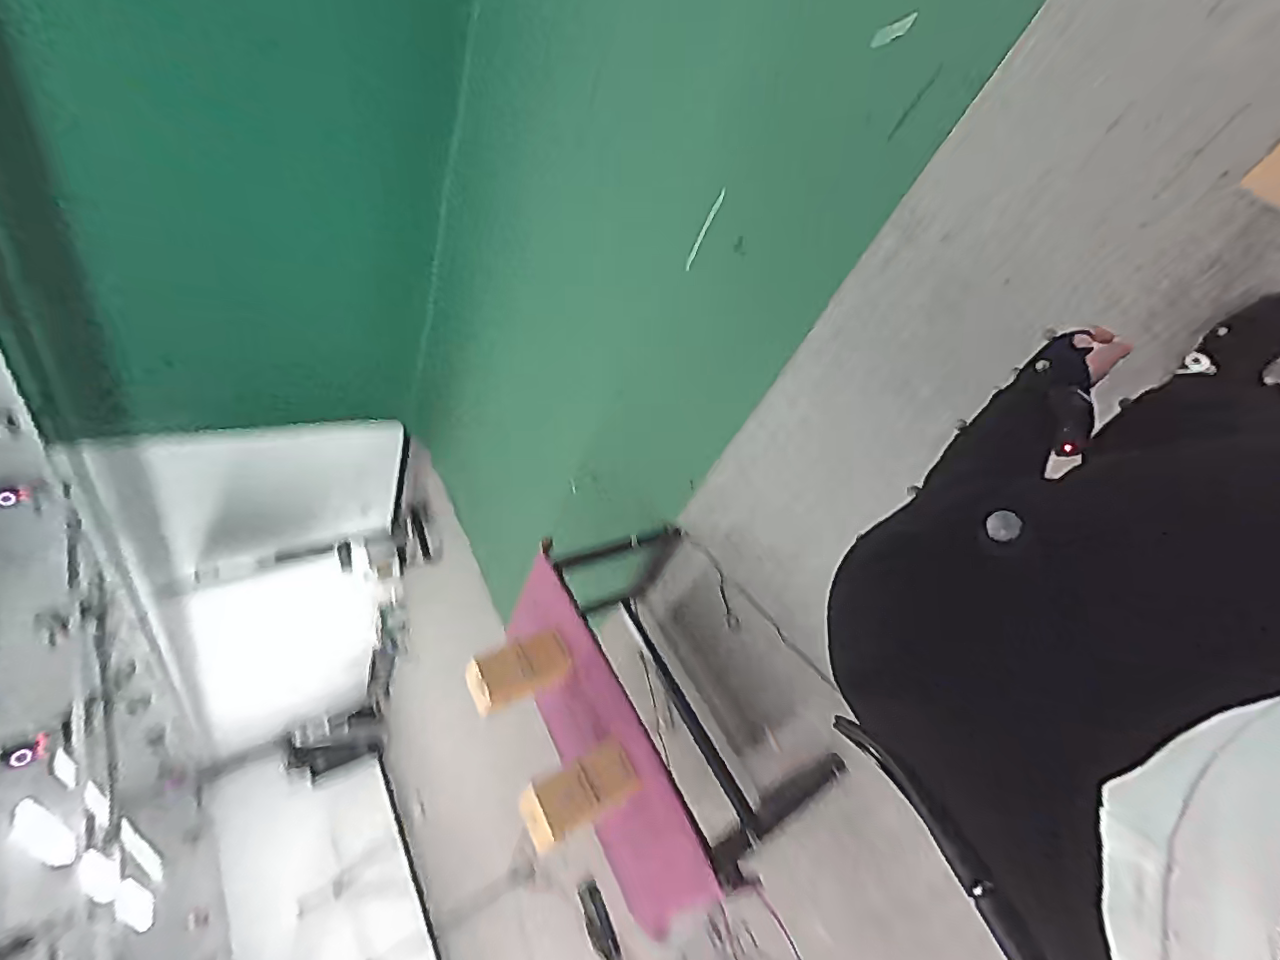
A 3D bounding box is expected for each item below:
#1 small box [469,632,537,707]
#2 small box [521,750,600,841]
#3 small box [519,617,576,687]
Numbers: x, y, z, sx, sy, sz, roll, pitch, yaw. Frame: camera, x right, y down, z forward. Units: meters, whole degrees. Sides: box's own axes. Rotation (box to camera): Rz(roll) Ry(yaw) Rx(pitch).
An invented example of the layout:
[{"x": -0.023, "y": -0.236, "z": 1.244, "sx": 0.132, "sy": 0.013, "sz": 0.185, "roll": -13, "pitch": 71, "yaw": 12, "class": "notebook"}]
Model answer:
[{"x": -0.486, "y": 0.668, "z": 1.923, "sx": 0.168, "sy": 0.176, "sz": 0.179, "roll": 55, "pitch": 139, "yaw": 25, "class": "small box"}, {"x": -0.247, "y": 0.981, "z": 1.693, "sx": 0.168, "sy": 0.176, "sz": 0.179, "roll": 55, "pitch": 136, "yaw": 29, "class": "small box"}, {"x": -0.360, "y": 0.643, "z": 2.025, "sx": 0.168, "sy": 0.176, "sz": 0.179, "roll": 56, "pitch": 137, "yaw": 25, "class": "small box"}]
